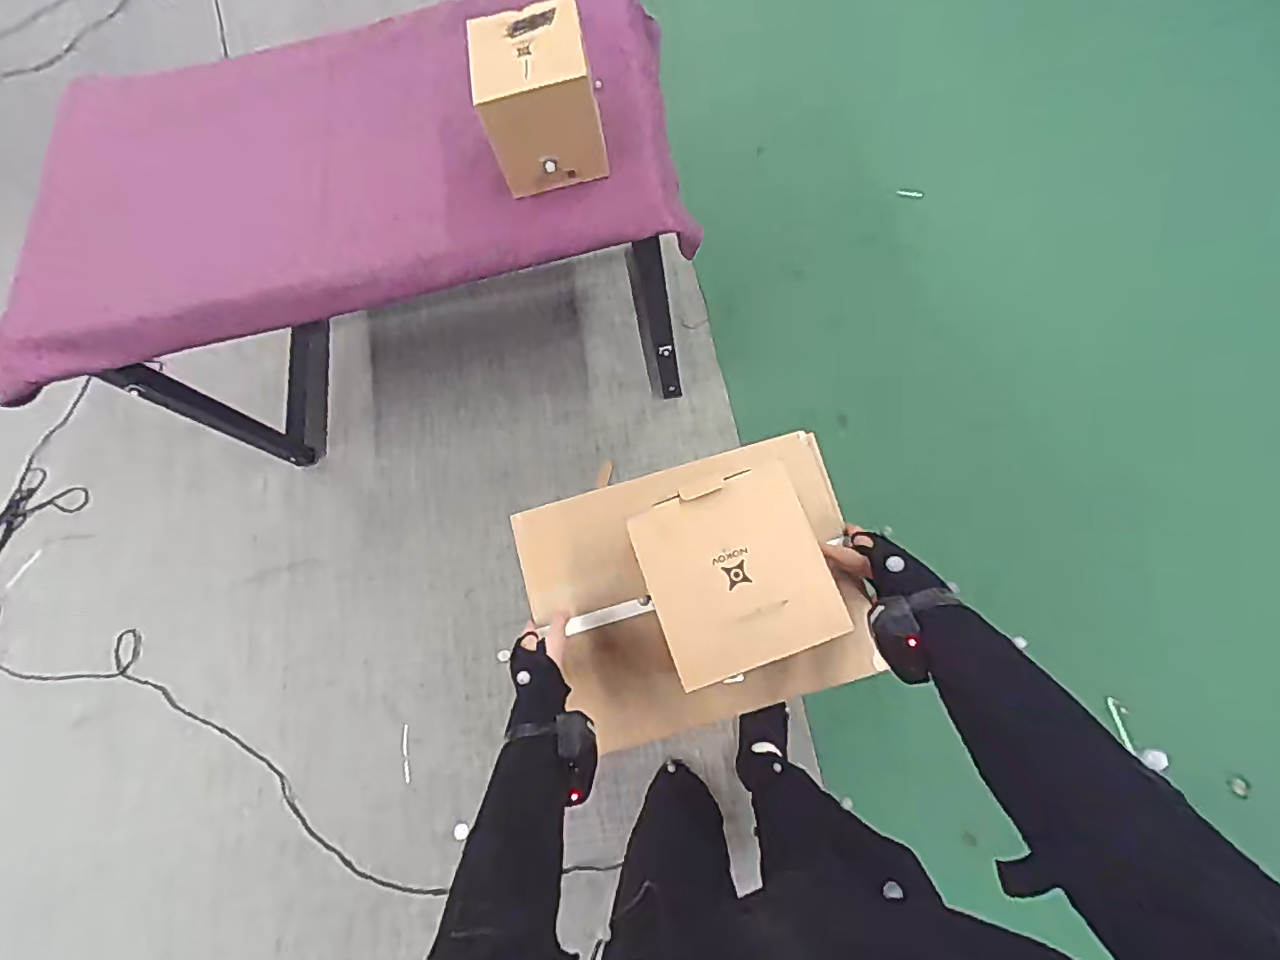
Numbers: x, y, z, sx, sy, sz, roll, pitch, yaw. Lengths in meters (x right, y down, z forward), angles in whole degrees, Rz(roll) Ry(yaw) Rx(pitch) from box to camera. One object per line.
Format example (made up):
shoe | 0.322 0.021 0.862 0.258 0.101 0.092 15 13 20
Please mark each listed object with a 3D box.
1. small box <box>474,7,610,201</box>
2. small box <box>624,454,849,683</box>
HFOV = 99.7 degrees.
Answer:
small box | -0.150 -0.583 0.855 0.168 0.176 0.179 -11 70 5
small box | 0.089 0.097 0.582 0.168 0.176 0.179 -20 77 -1
